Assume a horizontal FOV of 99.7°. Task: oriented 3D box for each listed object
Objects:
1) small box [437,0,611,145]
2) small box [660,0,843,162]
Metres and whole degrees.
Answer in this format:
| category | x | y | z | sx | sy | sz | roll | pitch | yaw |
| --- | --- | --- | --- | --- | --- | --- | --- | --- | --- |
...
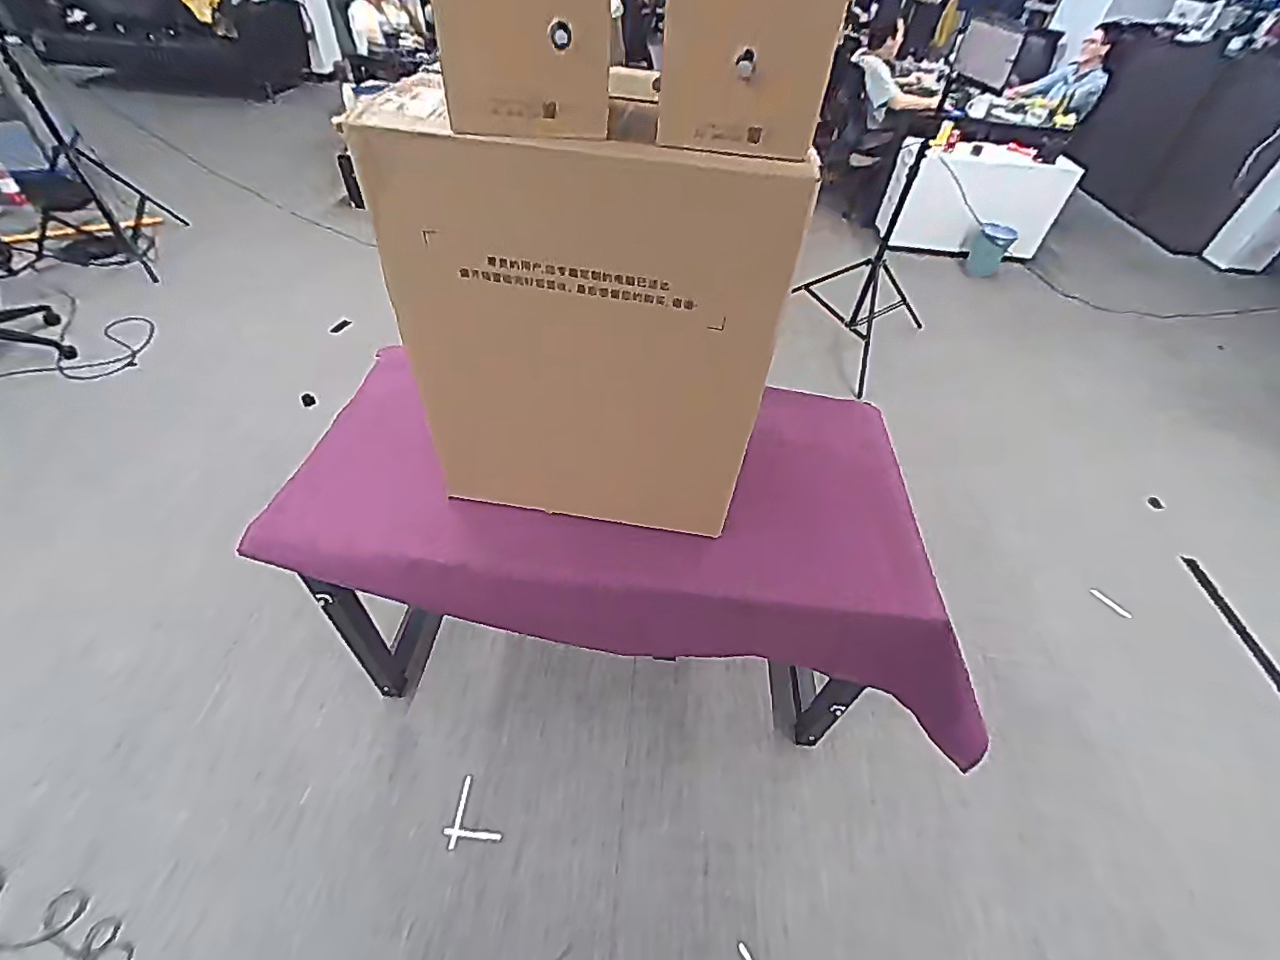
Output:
| category | x | y | z | sx | sy | sz | roll | pitch | yaw |
| --- | --- | --- | --- | --- | --- | --- | --- | --- | --- |
| small box | -0.117 | -0.483 | 0.585 | 0.168 | 0.176 | 0.179 | 0 | 46 | -8 |
| small box | 0.115 | -0.467 | 0.587 | 0.168 | 0.176 | 0.179 | 8 | 48 | 3 |
